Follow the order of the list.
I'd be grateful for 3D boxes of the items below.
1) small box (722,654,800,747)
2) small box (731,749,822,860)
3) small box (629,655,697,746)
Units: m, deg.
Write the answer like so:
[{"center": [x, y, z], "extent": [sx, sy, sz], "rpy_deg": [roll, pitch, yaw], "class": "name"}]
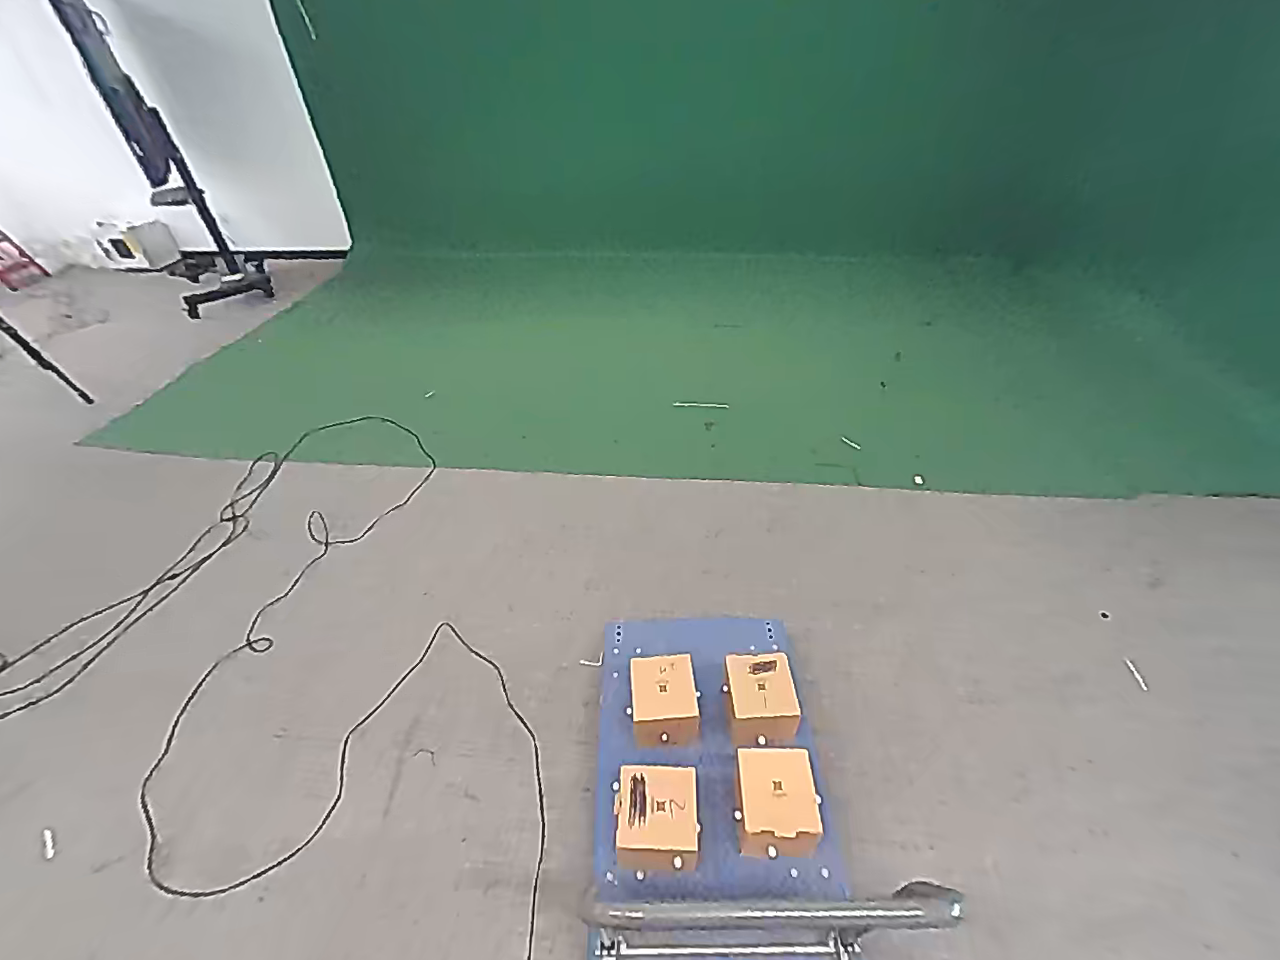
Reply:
[{"center": [0.314, 0.589, 1.446], "extent": [0.168, 0.176, 0.179], "rpy_deg": [-3, 41, 0], "class": "small box"}, {"center": [0.308, 0.754, 1.260], "extent": [0.168, 0.176, 0.179], "rpy_deg": [0, 40, 2], "class": "small box"}, {"center": [0.059, 0.595, 1.450], "extent": [0.168, 0.176, 0.179], "rpy_deg": [-3, 41, -2], "class": "small box"}]
